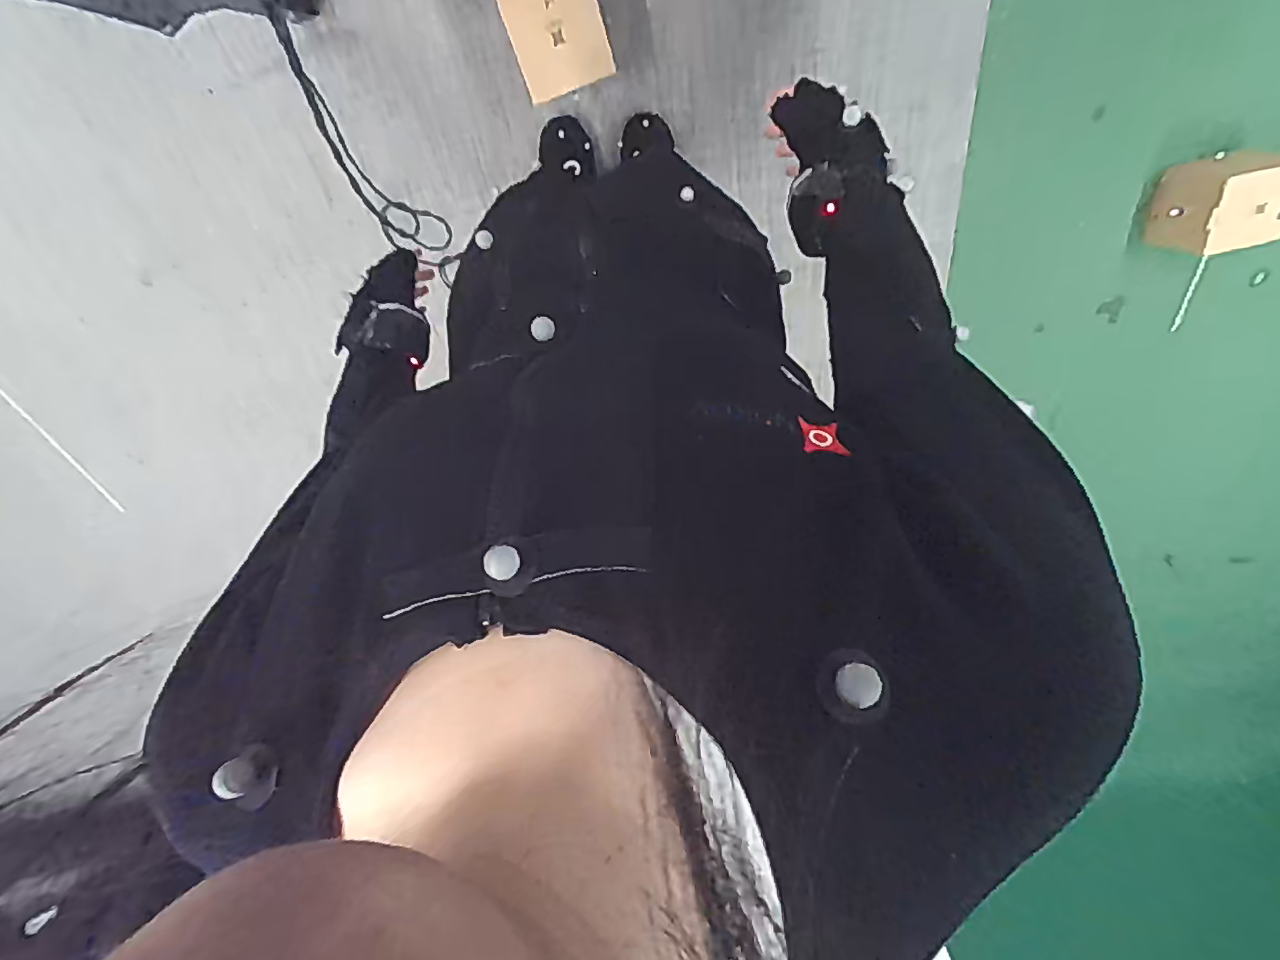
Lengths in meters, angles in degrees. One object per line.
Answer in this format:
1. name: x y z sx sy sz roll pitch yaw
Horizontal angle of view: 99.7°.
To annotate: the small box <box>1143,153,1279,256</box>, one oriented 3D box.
1. small box: 1.324 -0.632 1.238 0.179 0.176 0.168 -11 126 6
